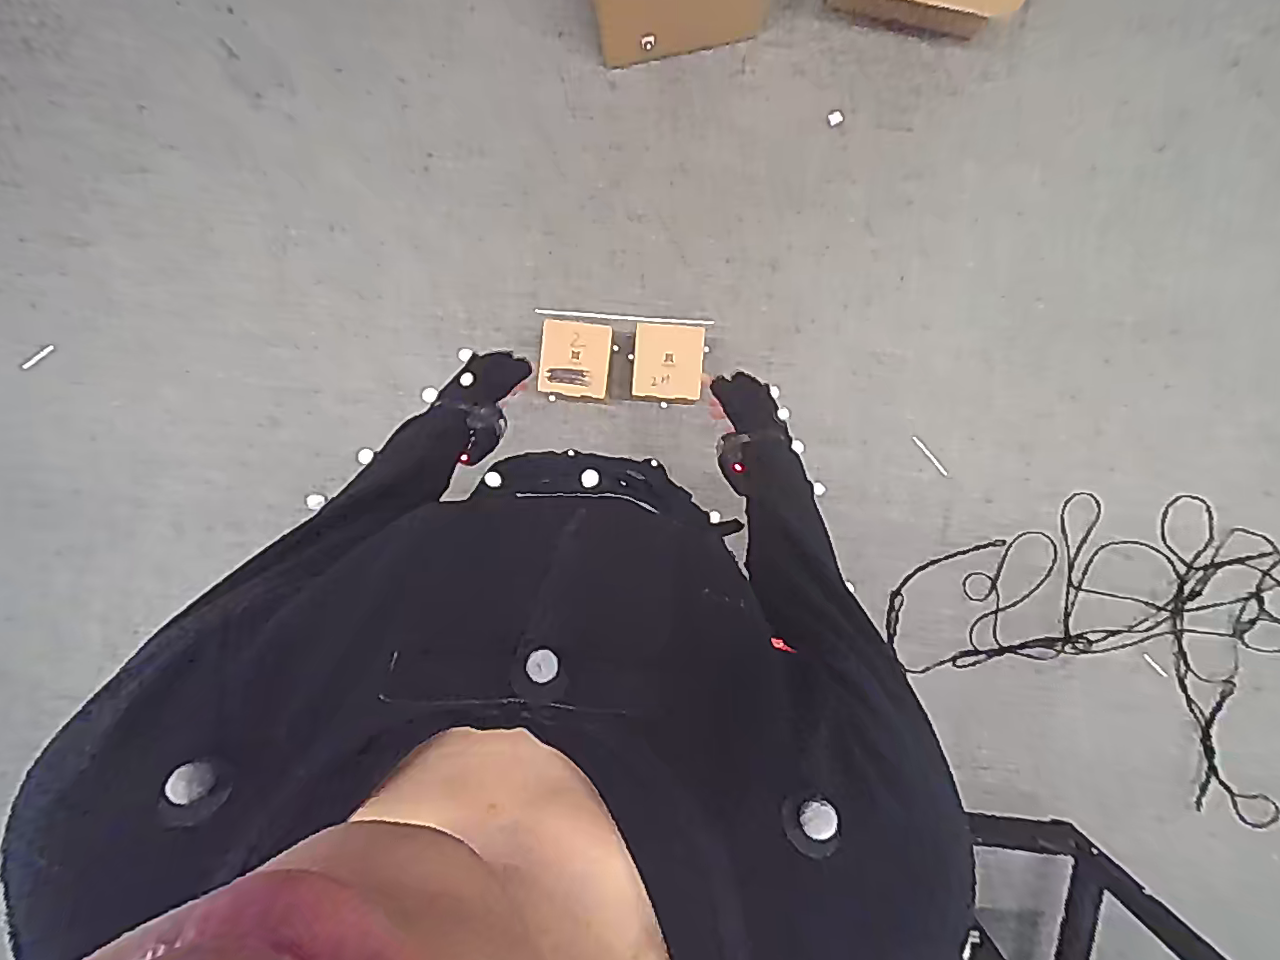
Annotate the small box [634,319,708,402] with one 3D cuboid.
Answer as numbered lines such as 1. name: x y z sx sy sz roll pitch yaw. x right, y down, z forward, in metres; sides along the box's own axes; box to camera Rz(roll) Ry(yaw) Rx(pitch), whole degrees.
1. small box: 0.073 -0.295 1.365 0.168 0.176 0.179 4 94 0
